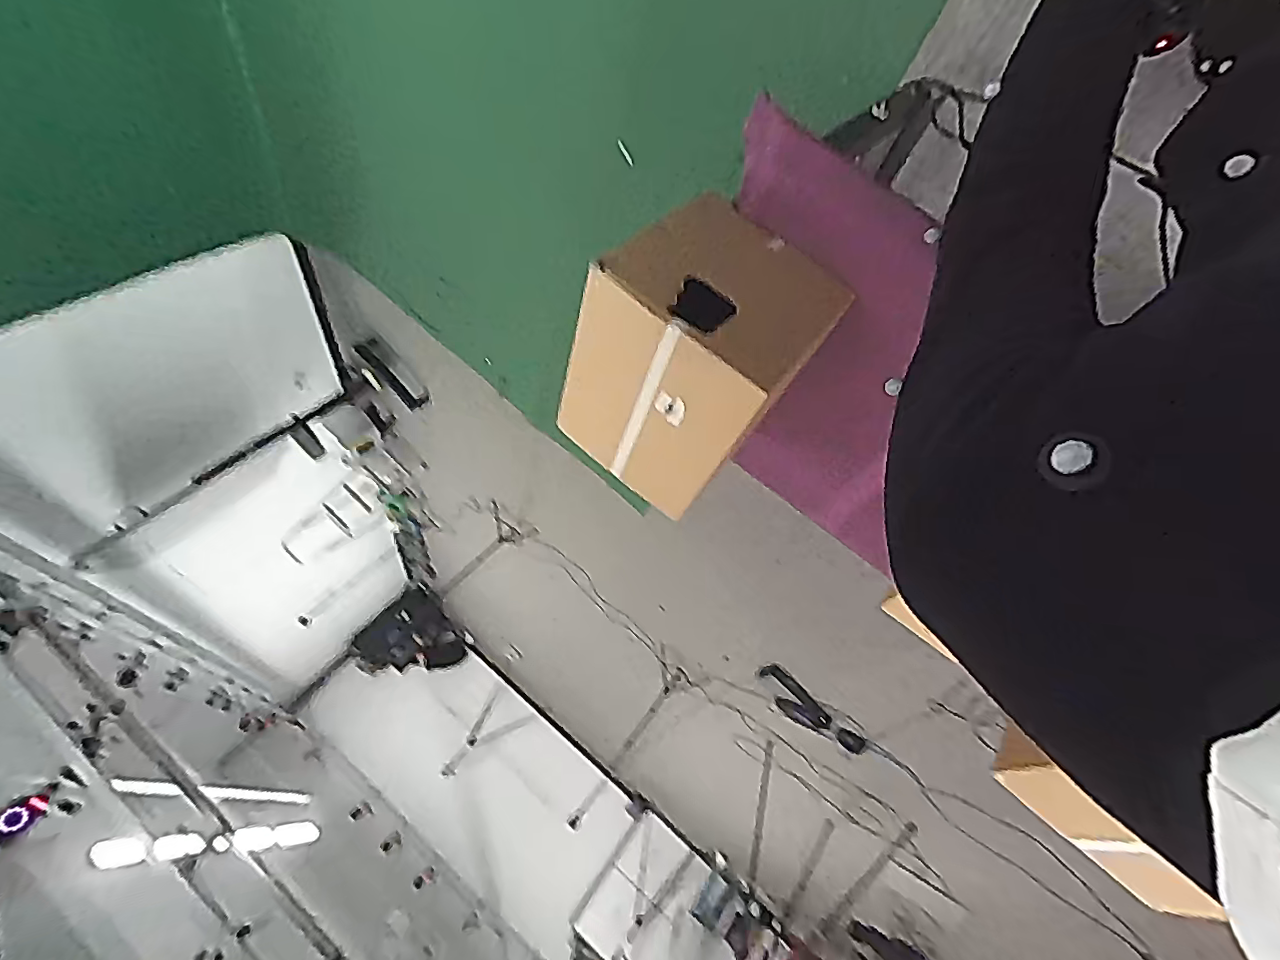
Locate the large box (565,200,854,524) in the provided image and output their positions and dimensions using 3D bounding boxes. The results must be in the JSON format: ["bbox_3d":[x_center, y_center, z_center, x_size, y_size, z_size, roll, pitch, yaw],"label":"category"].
[{"bbox_3d":[0.100,-0.197,0.971,0.320,0.320,0.408,38,146,8],"label":"large box"}]
